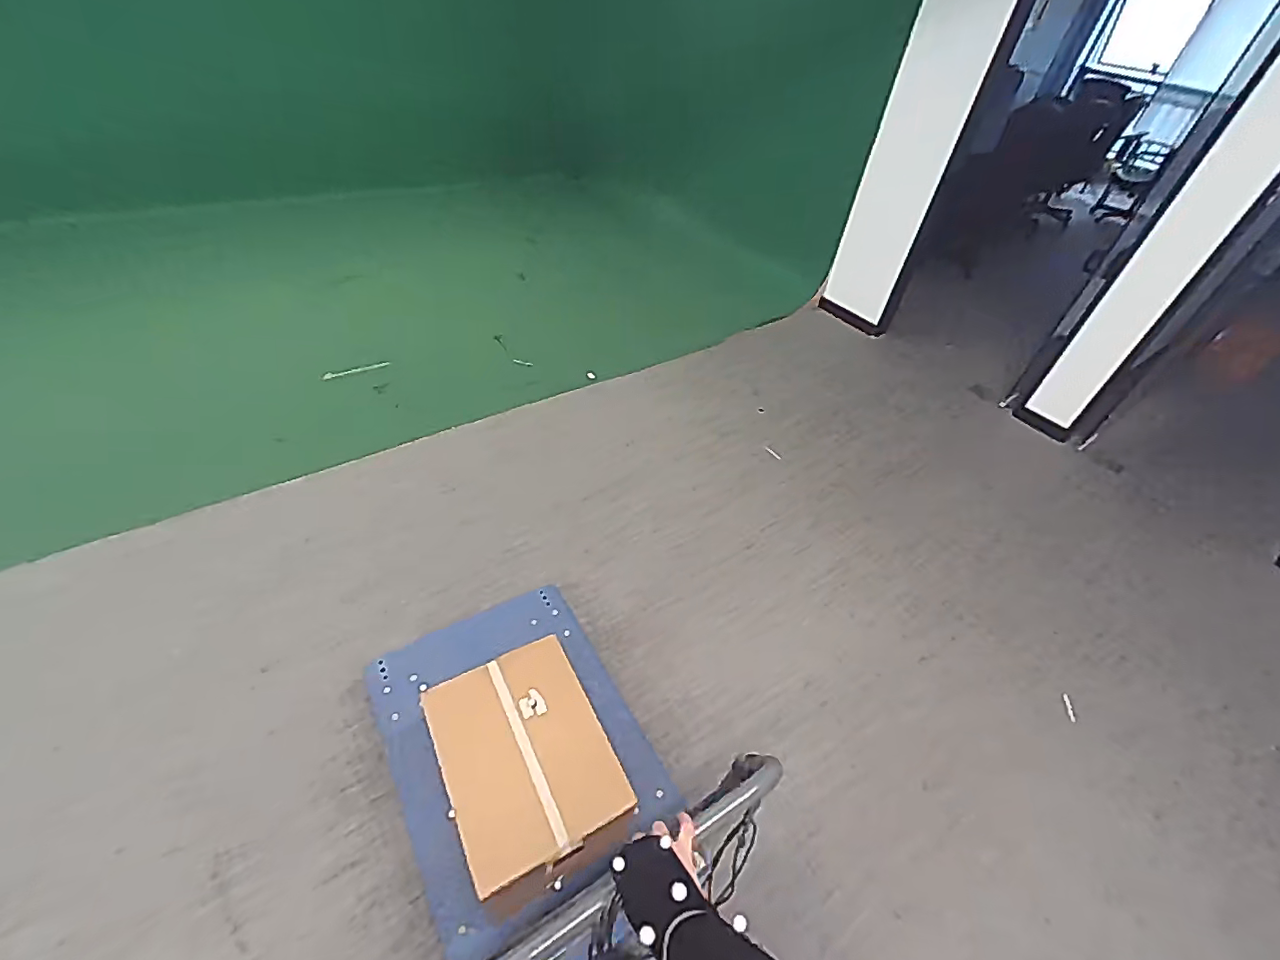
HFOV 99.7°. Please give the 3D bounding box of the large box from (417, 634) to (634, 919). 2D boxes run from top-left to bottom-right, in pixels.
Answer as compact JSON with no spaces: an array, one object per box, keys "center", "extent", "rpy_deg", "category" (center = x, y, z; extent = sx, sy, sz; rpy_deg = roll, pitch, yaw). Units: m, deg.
[{"center":[-0.249,0.632,1.183],"extent":[0.320,0.320,0.408],"rpy_deg":[-18,49,-25],"category":"large box"}]
